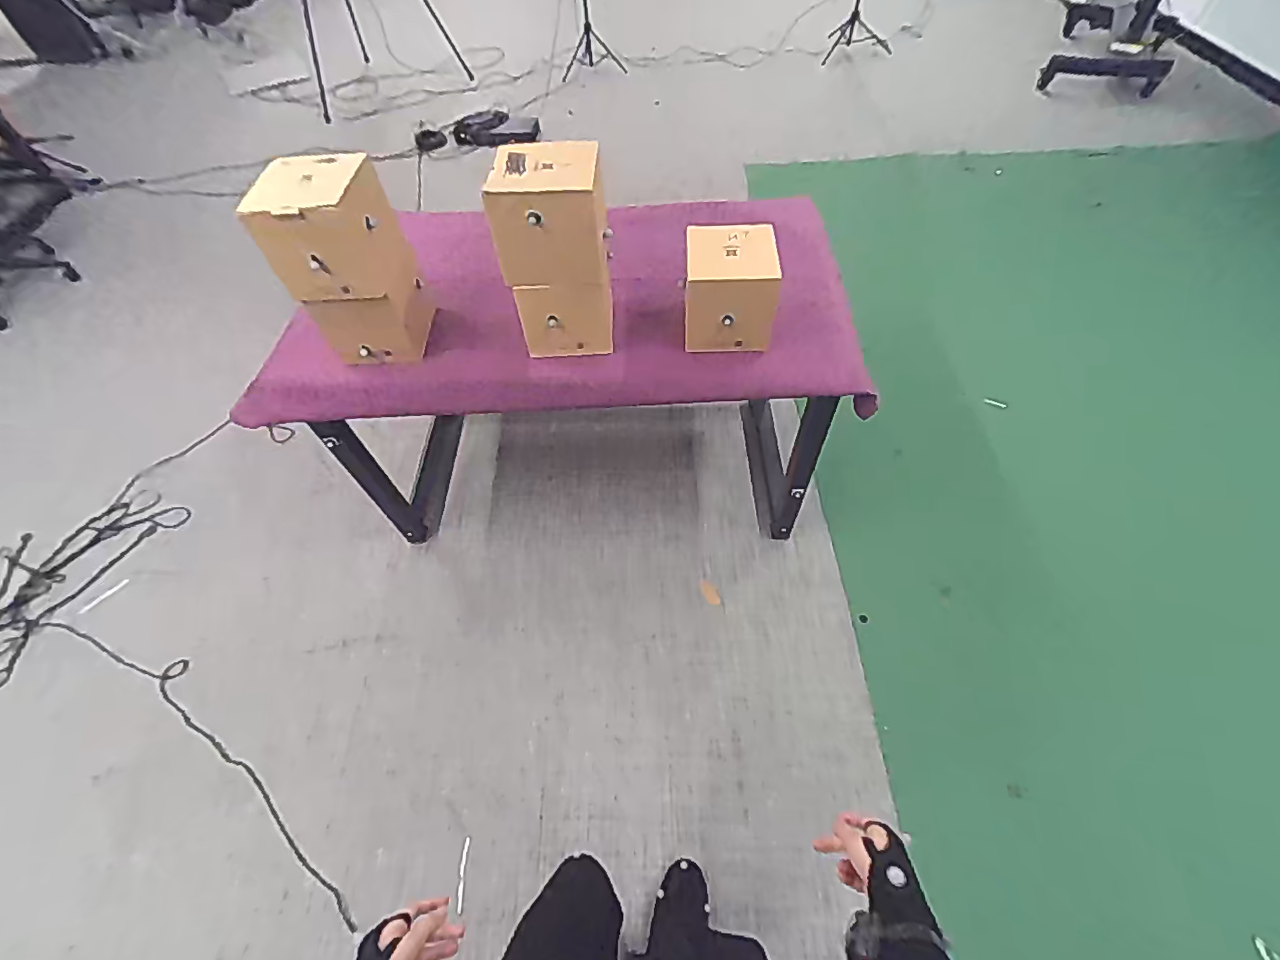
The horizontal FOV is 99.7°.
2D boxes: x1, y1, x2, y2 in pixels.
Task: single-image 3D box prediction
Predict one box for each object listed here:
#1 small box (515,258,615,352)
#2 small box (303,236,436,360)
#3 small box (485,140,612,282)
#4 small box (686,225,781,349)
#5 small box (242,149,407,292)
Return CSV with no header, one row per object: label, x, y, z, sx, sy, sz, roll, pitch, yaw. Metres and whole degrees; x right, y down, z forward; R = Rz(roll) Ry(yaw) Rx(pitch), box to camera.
small box,-0.139,-0.369,1.074,0.168,0.176,0.179,-3,54,1
small box,-0.528,-0.363,1.088,0.168,0.176,0.179,-2,56,1
small box,-0.147,-0.462,0.939,0.179,0.176,0.168,0,54,2
small box,0.177,-0.373,1.058,0.168,0.176,0.179,1,55,4
small box,-0.533,-0.447,0.947,0.168,0.176,0.179,-1,56,2
